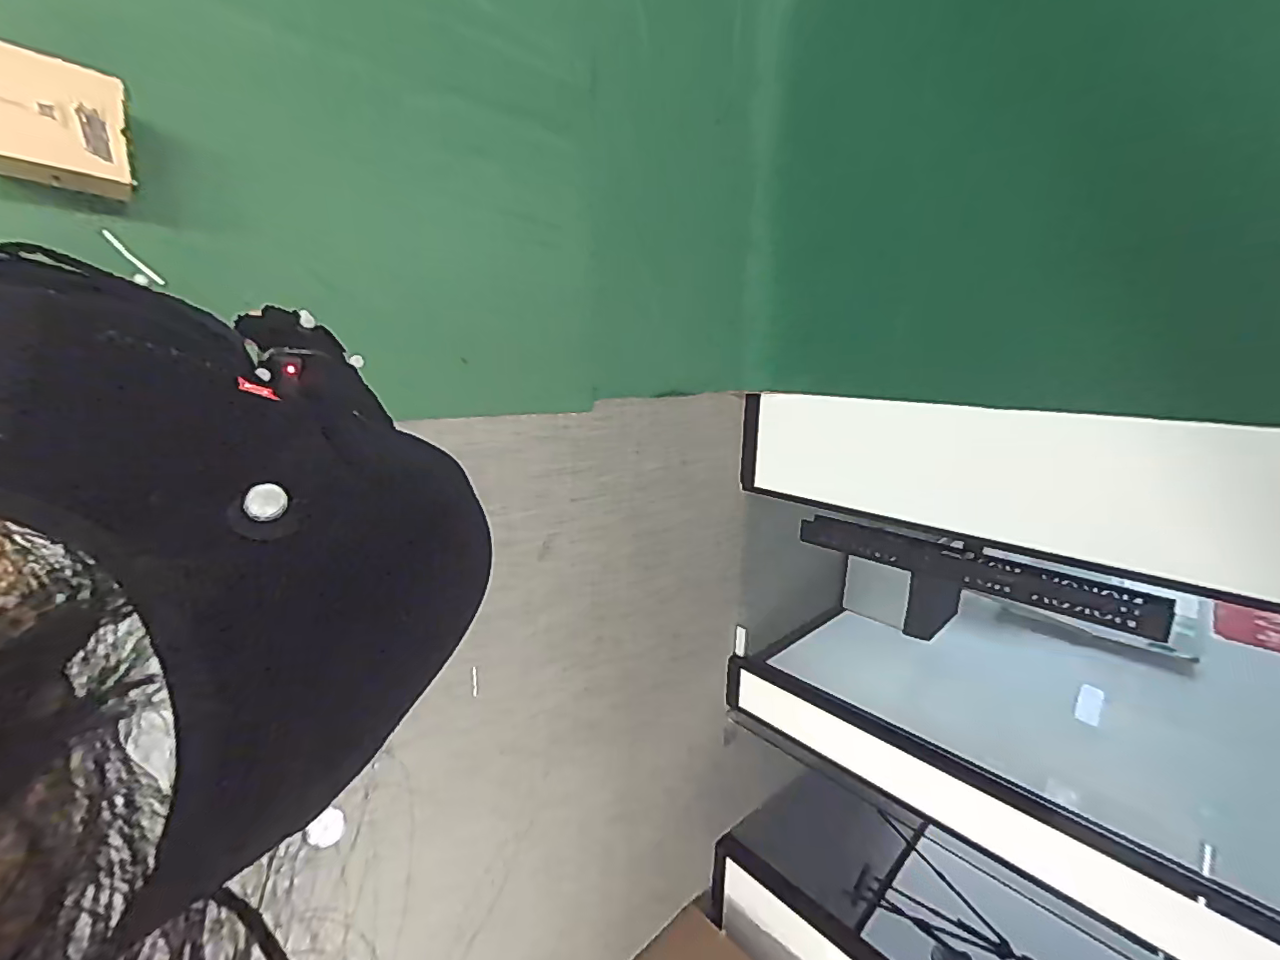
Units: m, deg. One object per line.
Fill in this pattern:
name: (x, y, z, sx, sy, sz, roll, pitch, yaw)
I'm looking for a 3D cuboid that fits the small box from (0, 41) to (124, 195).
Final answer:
small box: (-1.004, -0.602, 0.916, 0.179, 0.176, 0.168, -5, 104, -44)
